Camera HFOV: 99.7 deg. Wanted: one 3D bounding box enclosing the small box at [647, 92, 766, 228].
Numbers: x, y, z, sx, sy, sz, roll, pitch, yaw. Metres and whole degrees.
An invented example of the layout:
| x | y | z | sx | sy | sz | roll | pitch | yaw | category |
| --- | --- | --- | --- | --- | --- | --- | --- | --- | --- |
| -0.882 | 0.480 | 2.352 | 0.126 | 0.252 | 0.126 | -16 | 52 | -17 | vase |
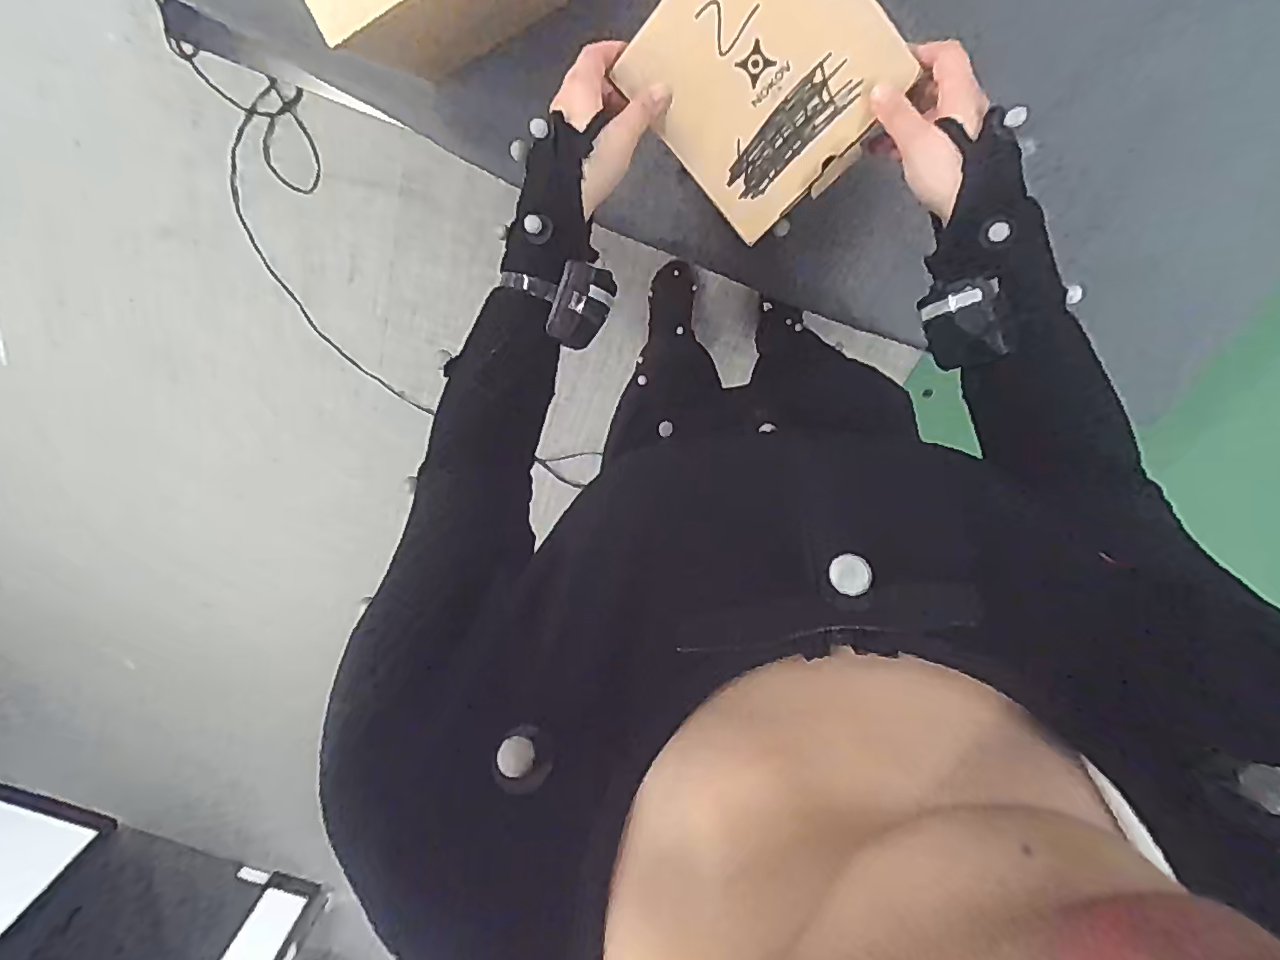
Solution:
| x | y | z | sx | sy | sz | roll | pitch | yaw | category |
| --- | --- | --- | --- | --- | --- | --- | --- | --- | --- |
| 0.140 | -0.658 | 1.127 | 0.179 | 0.176 | 0.168 | 40 | 115 | -11 | small box |

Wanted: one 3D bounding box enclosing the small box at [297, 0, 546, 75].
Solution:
| x | y | z | sx | sy | sz | roll | pitch | yaw | category |
| --- | --- | --- | --- | --- | --- | --- | --- | --- | --- |
| -0.194 | -0.474 | 0.444 | 0.179 | 0.176 | 0.168 | -18 | 114 | 16 | small box |

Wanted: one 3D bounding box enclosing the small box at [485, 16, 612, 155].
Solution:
| x | y | z | sx | sy | sz | roll | pitch | yaw | category |
| --- | --- | --- | --- | --- | --- | --- | --- | --- | --- |
| -0.180 | -0.791 | 1.103 | 0.179 | 0.176 | 0.168 | 32 | 118 | -8 | small box |
